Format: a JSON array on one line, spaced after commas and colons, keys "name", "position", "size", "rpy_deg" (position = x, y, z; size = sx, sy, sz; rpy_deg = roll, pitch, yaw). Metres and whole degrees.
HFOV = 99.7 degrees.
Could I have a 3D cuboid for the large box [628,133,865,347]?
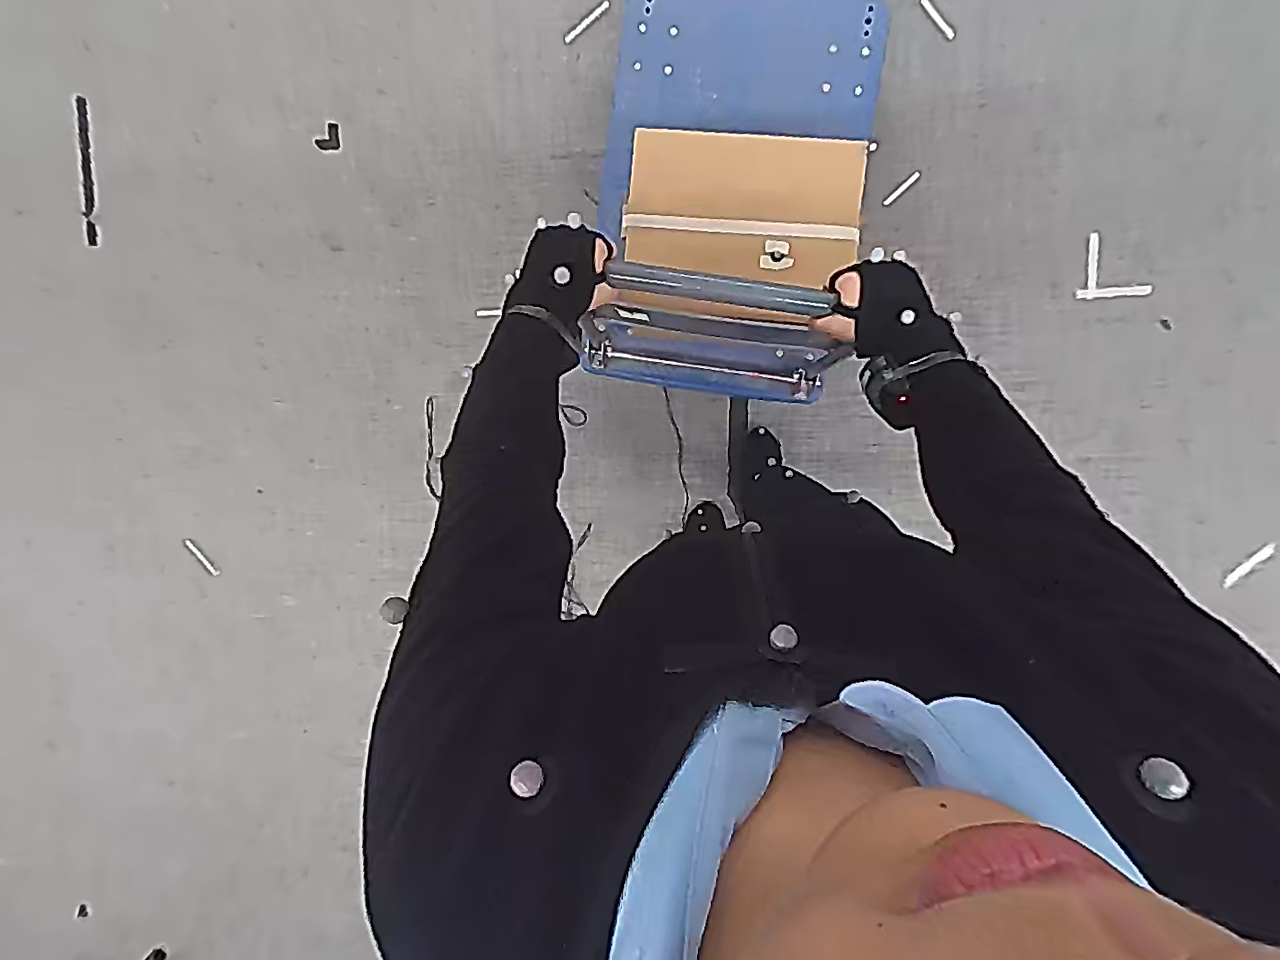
[{"name": "large box", "position": [0.191, -0.461, 1.110], "size": [0.408, 0.320, 0.320], "rpy_deg": [5, 96, 3]}]
